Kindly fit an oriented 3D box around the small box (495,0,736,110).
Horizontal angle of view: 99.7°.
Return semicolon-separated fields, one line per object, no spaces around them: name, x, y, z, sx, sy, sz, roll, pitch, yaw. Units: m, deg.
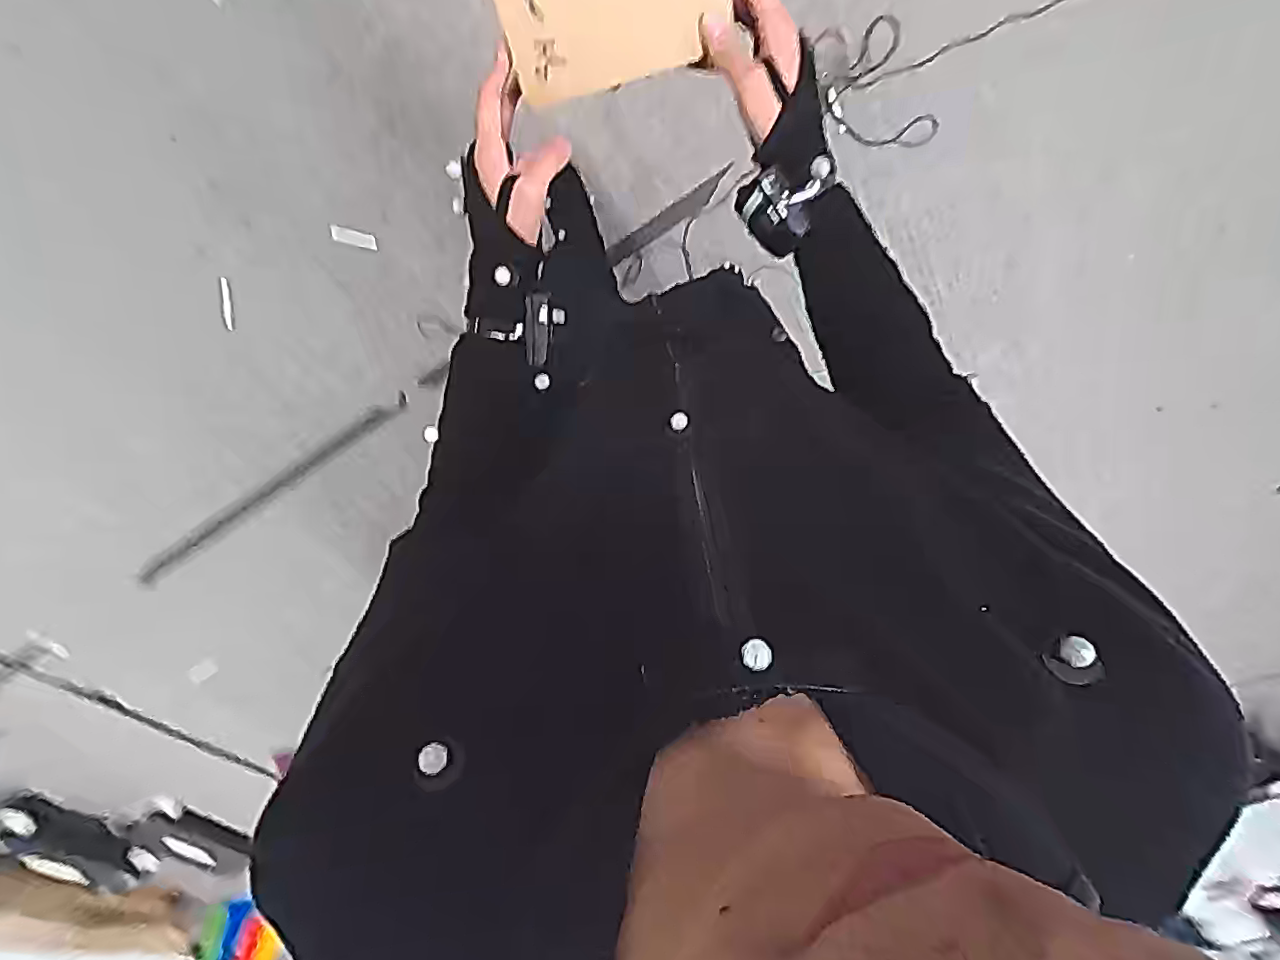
small box;-0.037;-0.426;0.434;0.179;0.176;0.168;-16;132;1
